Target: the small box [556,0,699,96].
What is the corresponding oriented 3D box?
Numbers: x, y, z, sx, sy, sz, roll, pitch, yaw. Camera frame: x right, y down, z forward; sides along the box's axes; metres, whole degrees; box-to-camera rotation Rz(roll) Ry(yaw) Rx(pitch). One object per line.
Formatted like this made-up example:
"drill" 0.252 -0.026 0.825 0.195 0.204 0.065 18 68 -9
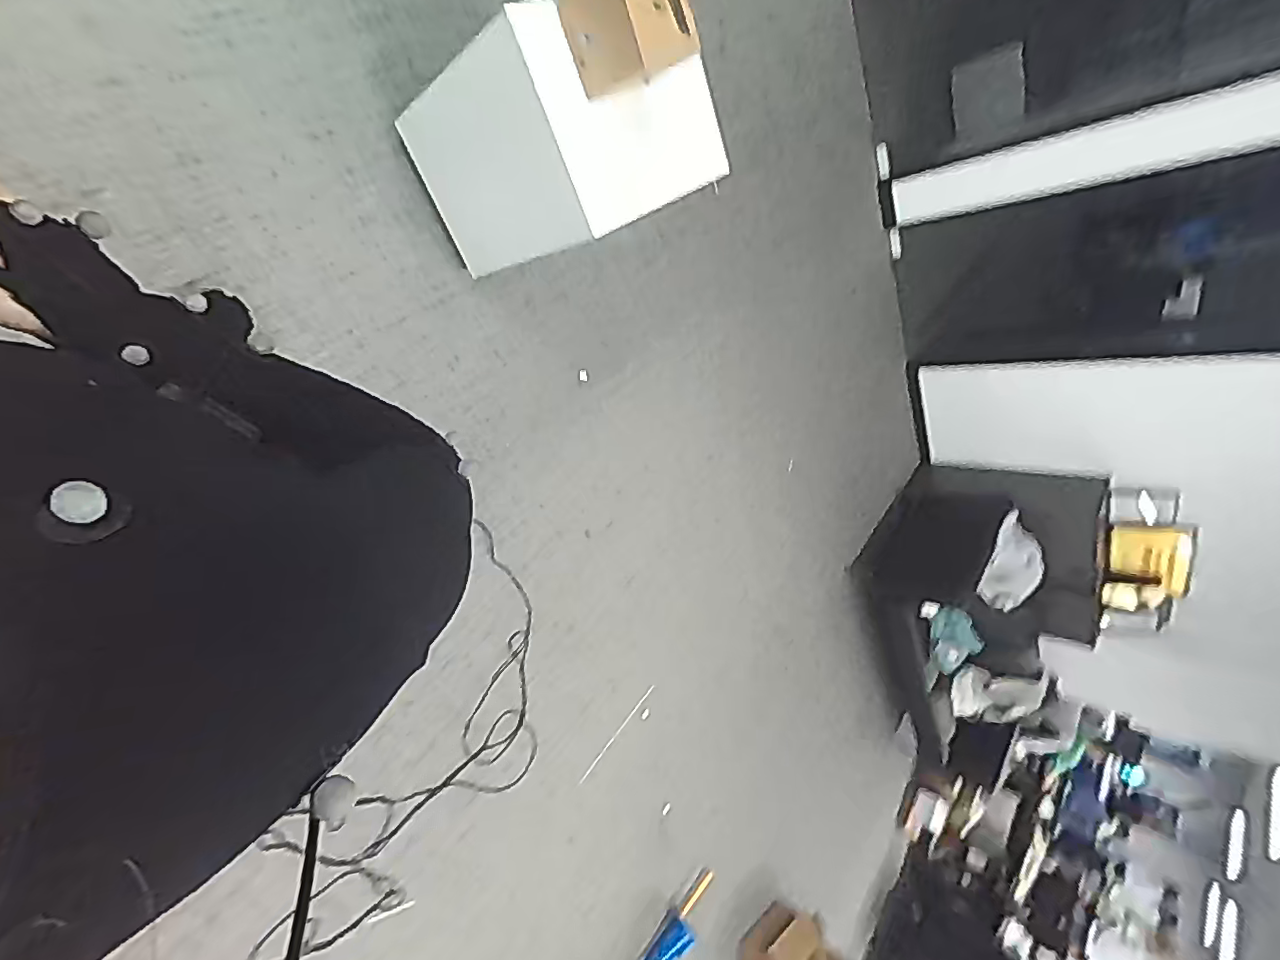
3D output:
"small box" -0.023 -0.857 1.014 0.179 0.176 0.168 -42 124 -30
